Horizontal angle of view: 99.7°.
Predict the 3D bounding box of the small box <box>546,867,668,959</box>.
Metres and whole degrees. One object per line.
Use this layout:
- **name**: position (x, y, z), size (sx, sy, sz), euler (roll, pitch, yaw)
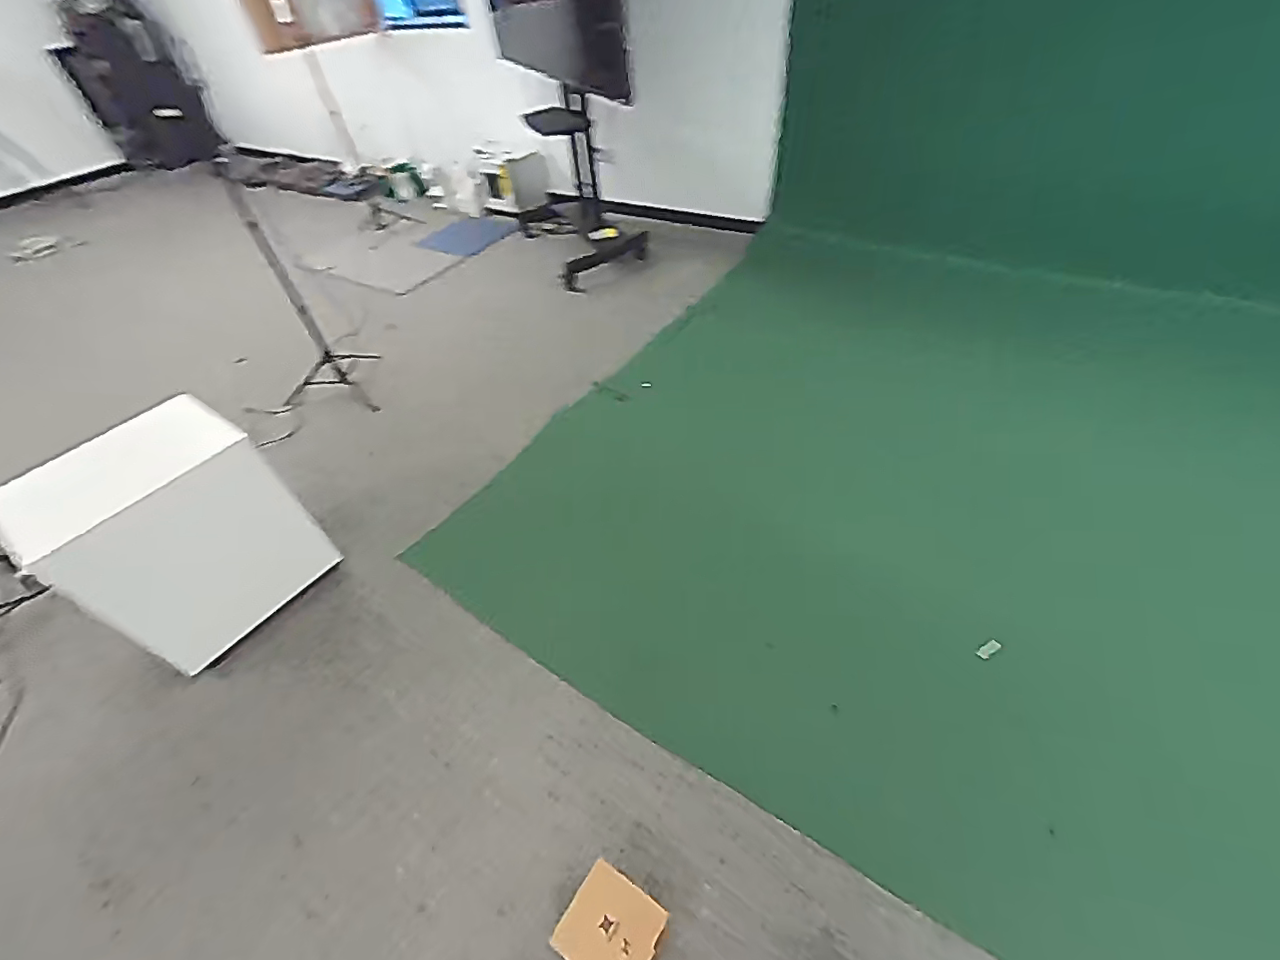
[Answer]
- **small box**: position (-0.058, 0.928, 1.080), size (0.179, 0.176, 0.168), euler (23, 52, 26)
